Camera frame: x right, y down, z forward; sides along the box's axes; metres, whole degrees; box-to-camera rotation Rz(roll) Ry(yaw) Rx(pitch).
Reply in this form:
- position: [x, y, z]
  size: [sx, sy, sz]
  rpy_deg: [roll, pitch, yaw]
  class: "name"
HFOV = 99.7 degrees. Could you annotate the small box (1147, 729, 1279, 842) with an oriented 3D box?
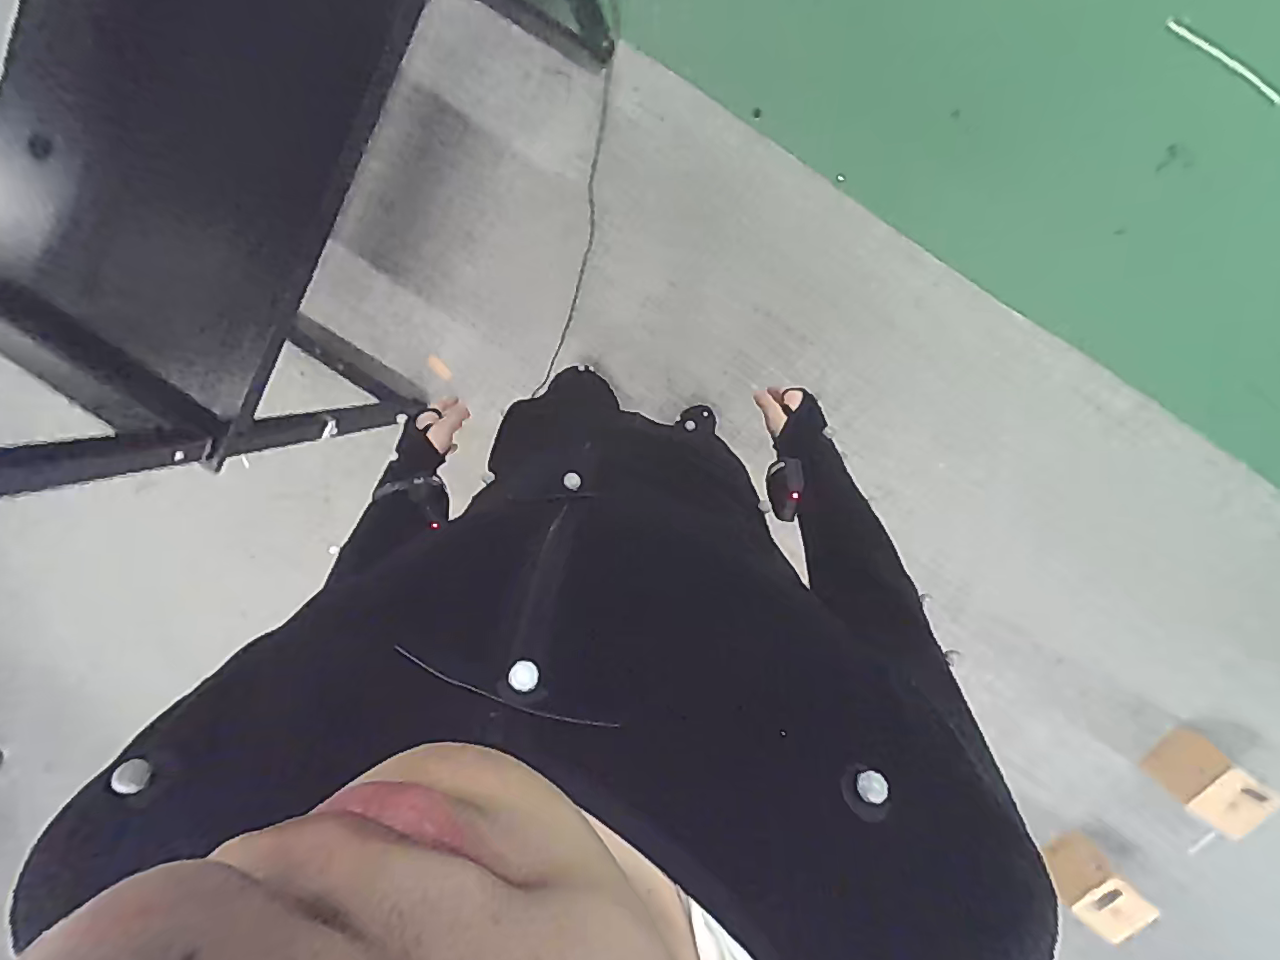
- position: [1.571, 0.827, 1.481]
  size: [0.168, 0.176, 0.179]
  rpy_deg: [33, 105, 1]
  class: "small box"
